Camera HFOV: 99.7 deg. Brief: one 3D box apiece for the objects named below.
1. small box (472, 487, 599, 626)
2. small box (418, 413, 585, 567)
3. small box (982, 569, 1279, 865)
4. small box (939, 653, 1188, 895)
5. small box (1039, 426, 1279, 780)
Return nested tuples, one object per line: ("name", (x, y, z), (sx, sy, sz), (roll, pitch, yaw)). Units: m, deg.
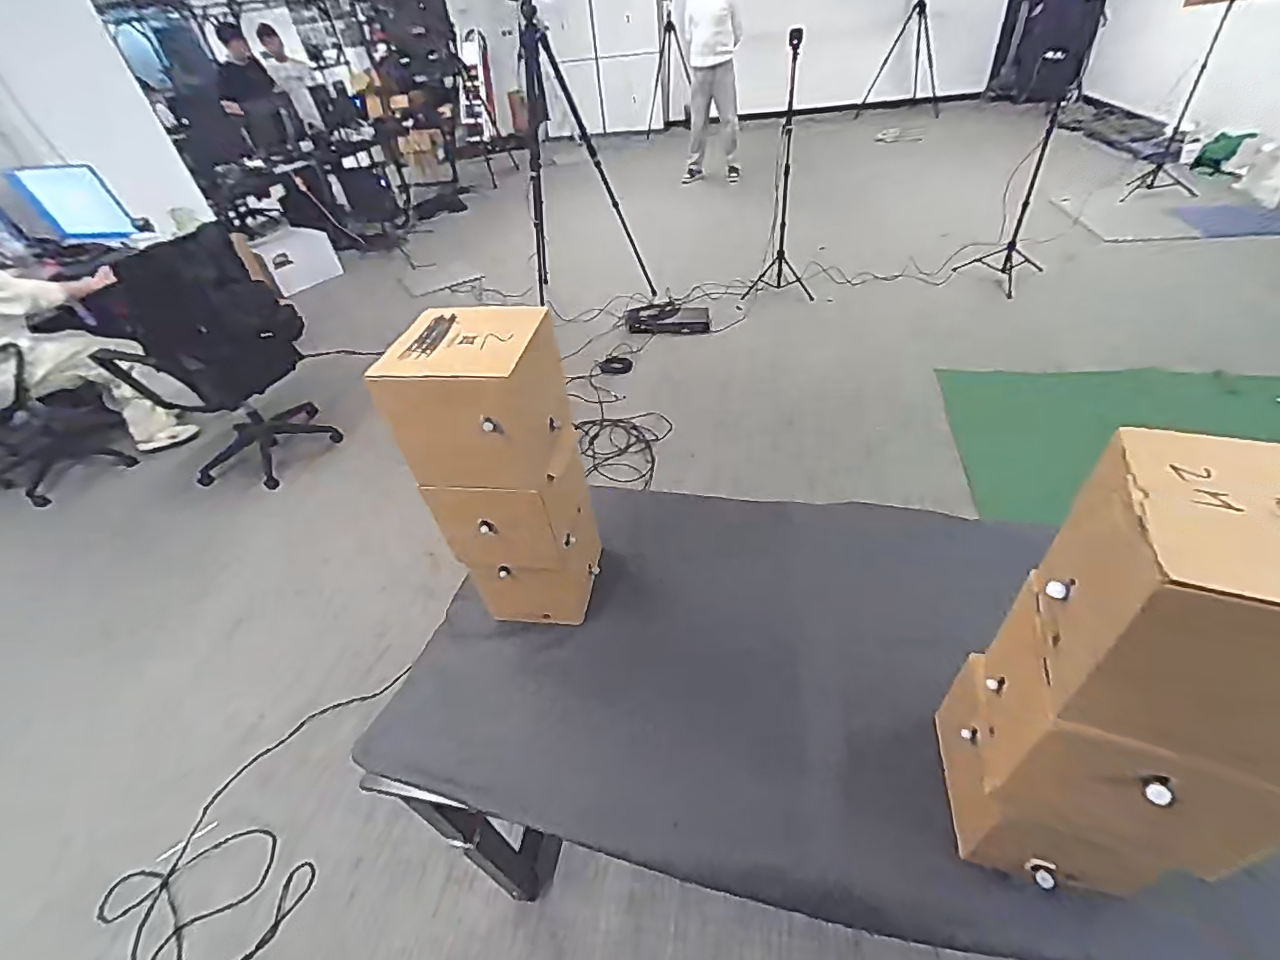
("small box", (-0.172, 0.127, 0.935), (0.168, 0.176, 0.179), (1, 43, 10))
("small box", (-0.191, 0.017, 0.813), (0.179, 0.176, 0.168), (1, 43, 11))
("small box", (0.435, 0.213, 0.491), (0.179, 0.176, 0.168), (10, 43, 22))
("small box", (0.456, 0.326, 0.607), (0.168, 0.176, 0.179), (3, 42, 14))
("small box", (0.421, 0.086, 0.386), (0.179, 0.176, 0.168), (12, 43, 24))
